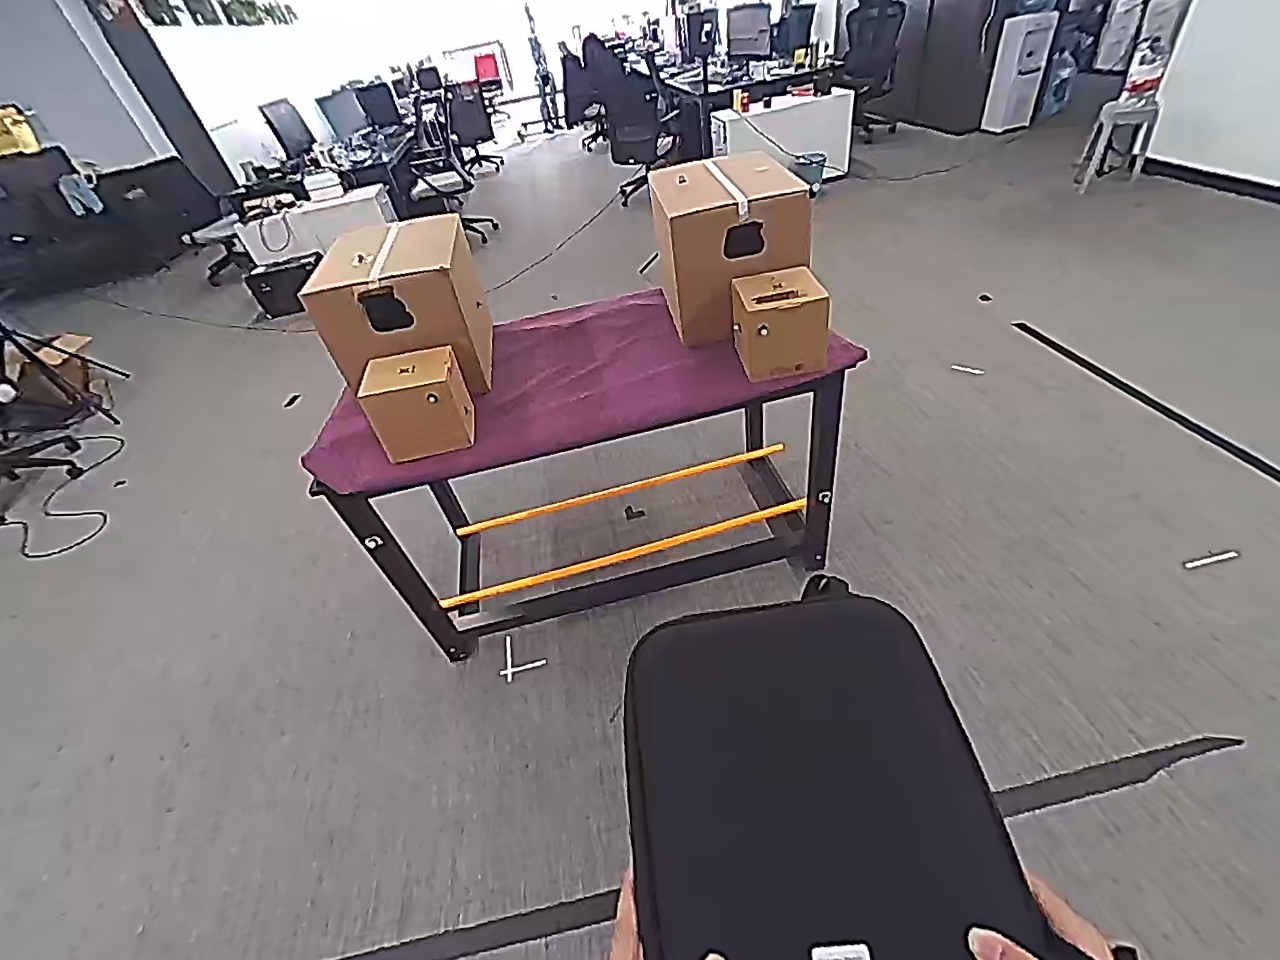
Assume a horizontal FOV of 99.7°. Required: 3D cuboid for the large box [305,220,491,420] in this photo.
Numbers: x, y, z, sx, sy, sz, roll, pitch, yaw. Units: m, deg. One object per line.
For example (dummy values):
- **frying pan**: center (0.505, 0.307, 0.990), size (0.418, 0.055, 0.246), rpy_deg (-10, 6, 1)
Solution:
- **large box**: center (-0.573, -0.413, 1.369), size (0.320, 0.320, 0.408), rpy_deg (-13, 44, -4)
